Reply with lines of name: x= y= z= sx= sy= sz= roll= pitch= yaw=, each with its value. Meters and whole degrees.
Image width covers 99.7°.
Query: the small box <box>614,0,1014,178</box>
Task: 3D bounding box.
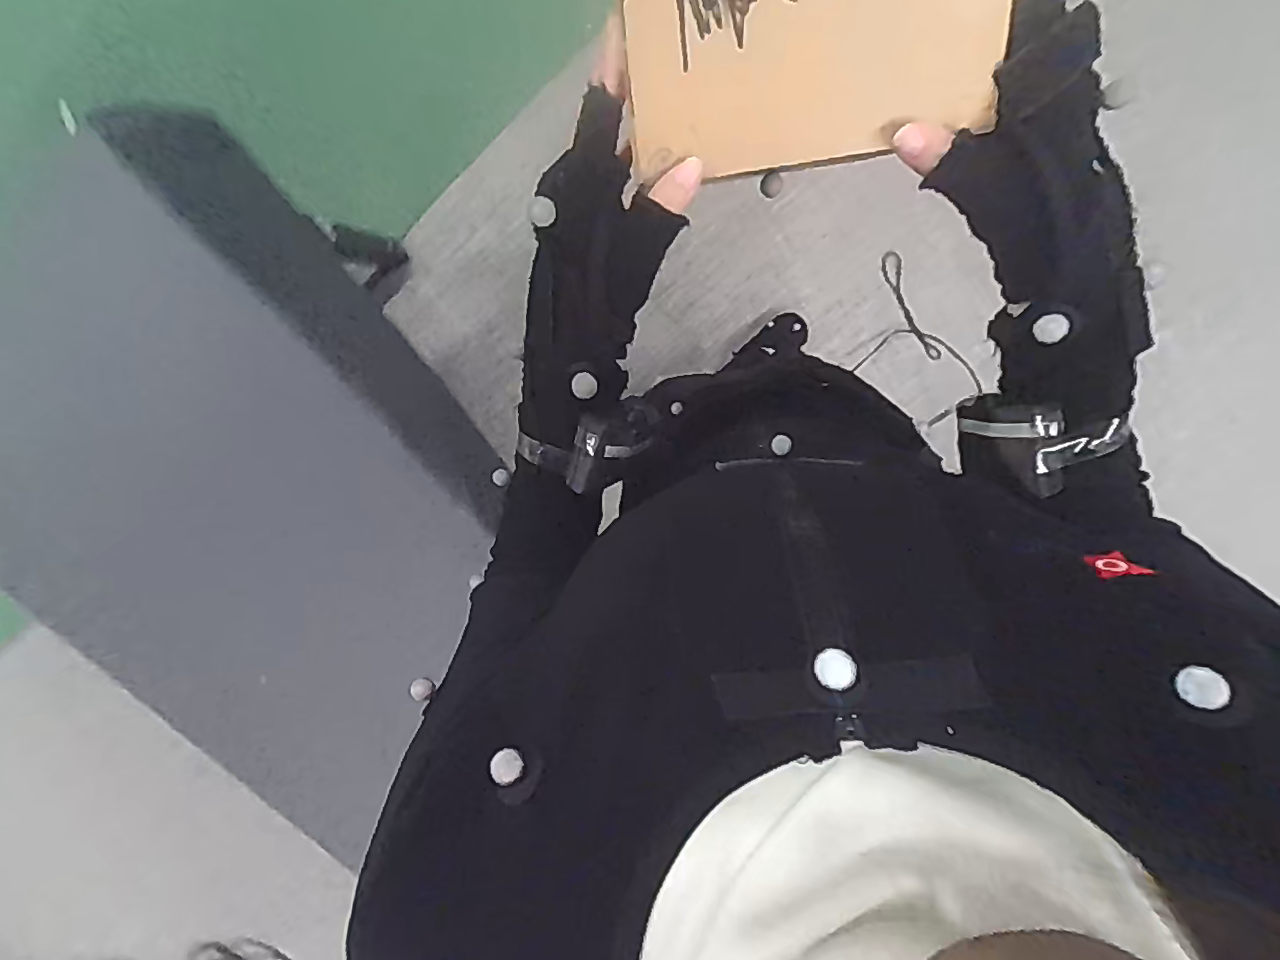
small box: x=0.077 y=-0.270 z=0.298 sx=0.179 sy=0.176 sz=0.168 roll=-5 pitch=118 yaw=5
